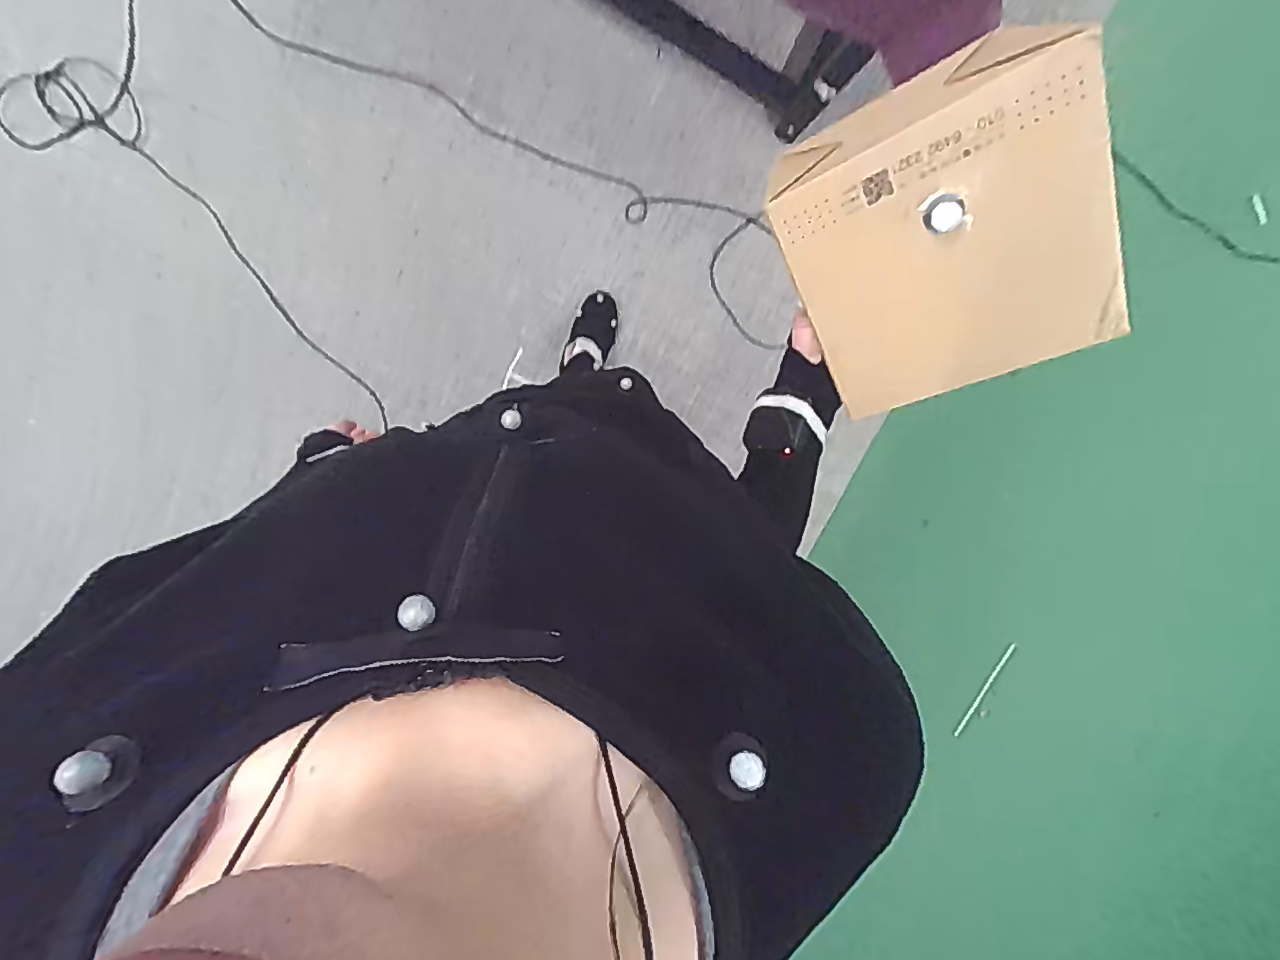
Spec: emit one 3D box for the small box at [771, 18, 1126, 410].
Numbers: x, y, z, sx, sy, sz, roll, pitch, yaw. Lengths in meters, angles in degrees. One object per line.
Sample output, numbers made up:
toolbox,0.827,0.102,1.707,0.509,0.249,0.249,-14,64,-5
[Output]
small box,0.204,-0.185,0.387,0.168,0.179,0.176,-18,120,29
